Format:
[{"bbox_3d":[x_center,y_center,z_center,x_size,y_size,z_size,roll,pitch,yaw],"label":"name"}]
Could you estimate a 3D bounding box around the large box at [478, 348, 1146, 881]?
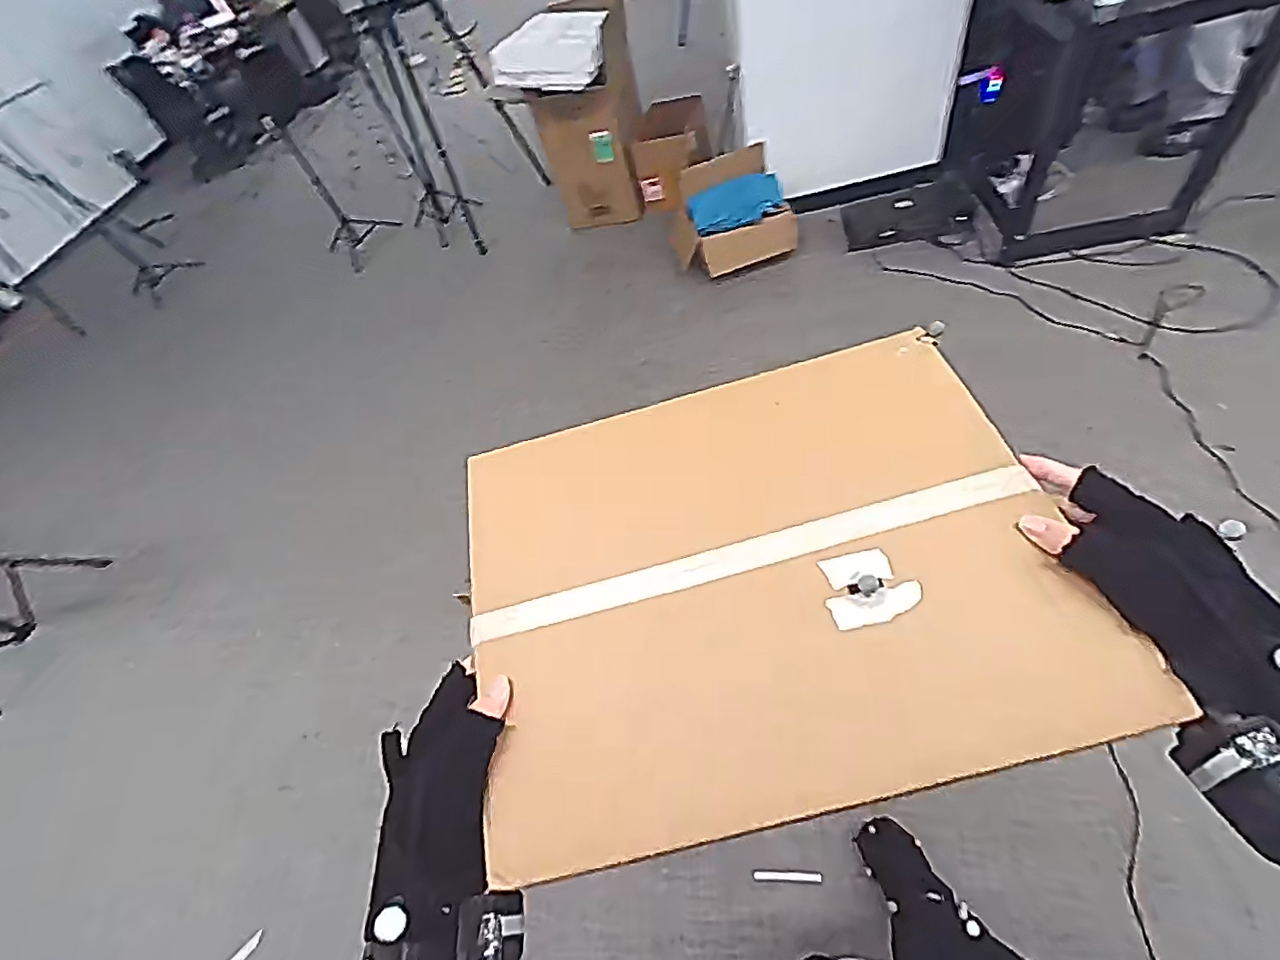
[{"bbox_3d":[0.101,0.139,0.525,0.408,0.320,0.320,-16,58,2],"label":"large box"}]
